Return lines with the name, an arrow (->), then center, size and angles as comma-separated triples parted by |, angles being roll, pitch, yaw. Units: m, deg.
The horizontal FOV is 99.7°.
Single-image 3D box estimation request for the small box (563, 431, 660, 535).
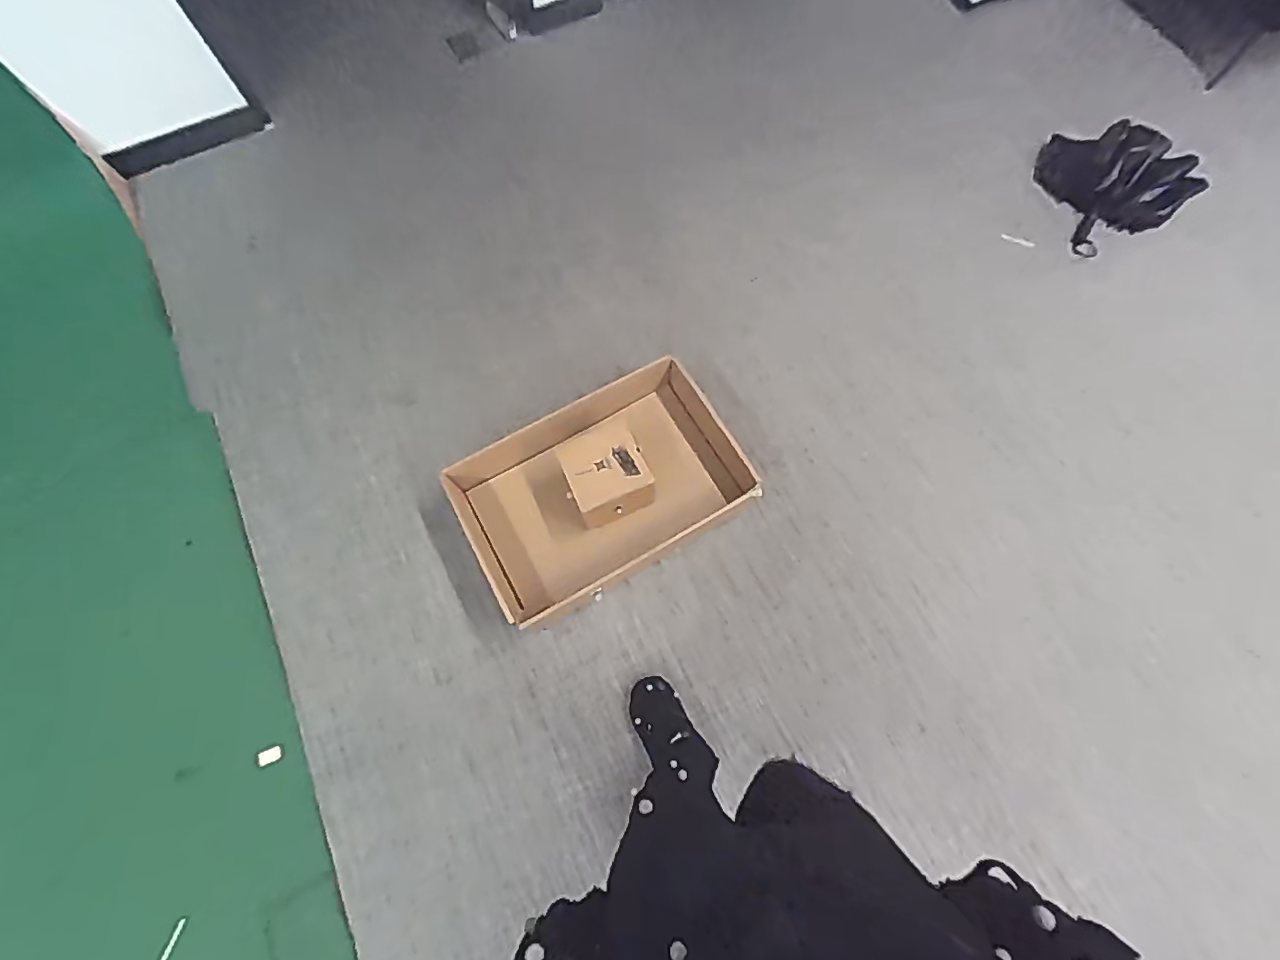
small box -> -0.063, 0.013, 1.282 | 0.179, 0.176, 0.168 | -23, 71, -4
